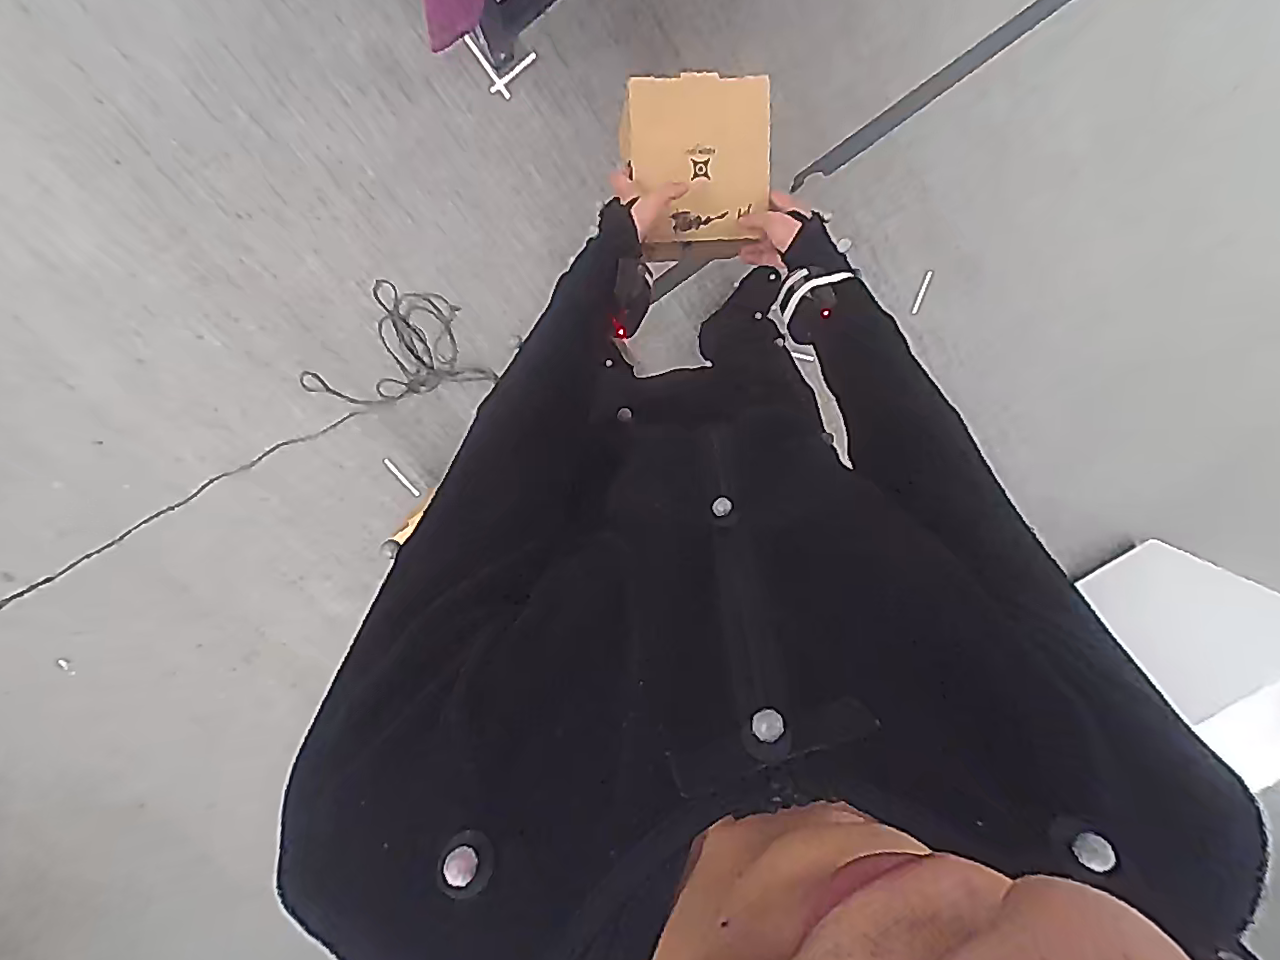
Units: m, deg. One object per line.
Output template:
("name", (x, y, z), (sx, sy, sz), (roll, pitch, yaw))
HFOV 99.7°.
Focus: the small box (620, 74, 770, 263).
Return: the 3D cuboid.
("small box", (0.062, -0.389, 0.702), (0.168, 0.176, 0.179), (-4, 106, -4))
